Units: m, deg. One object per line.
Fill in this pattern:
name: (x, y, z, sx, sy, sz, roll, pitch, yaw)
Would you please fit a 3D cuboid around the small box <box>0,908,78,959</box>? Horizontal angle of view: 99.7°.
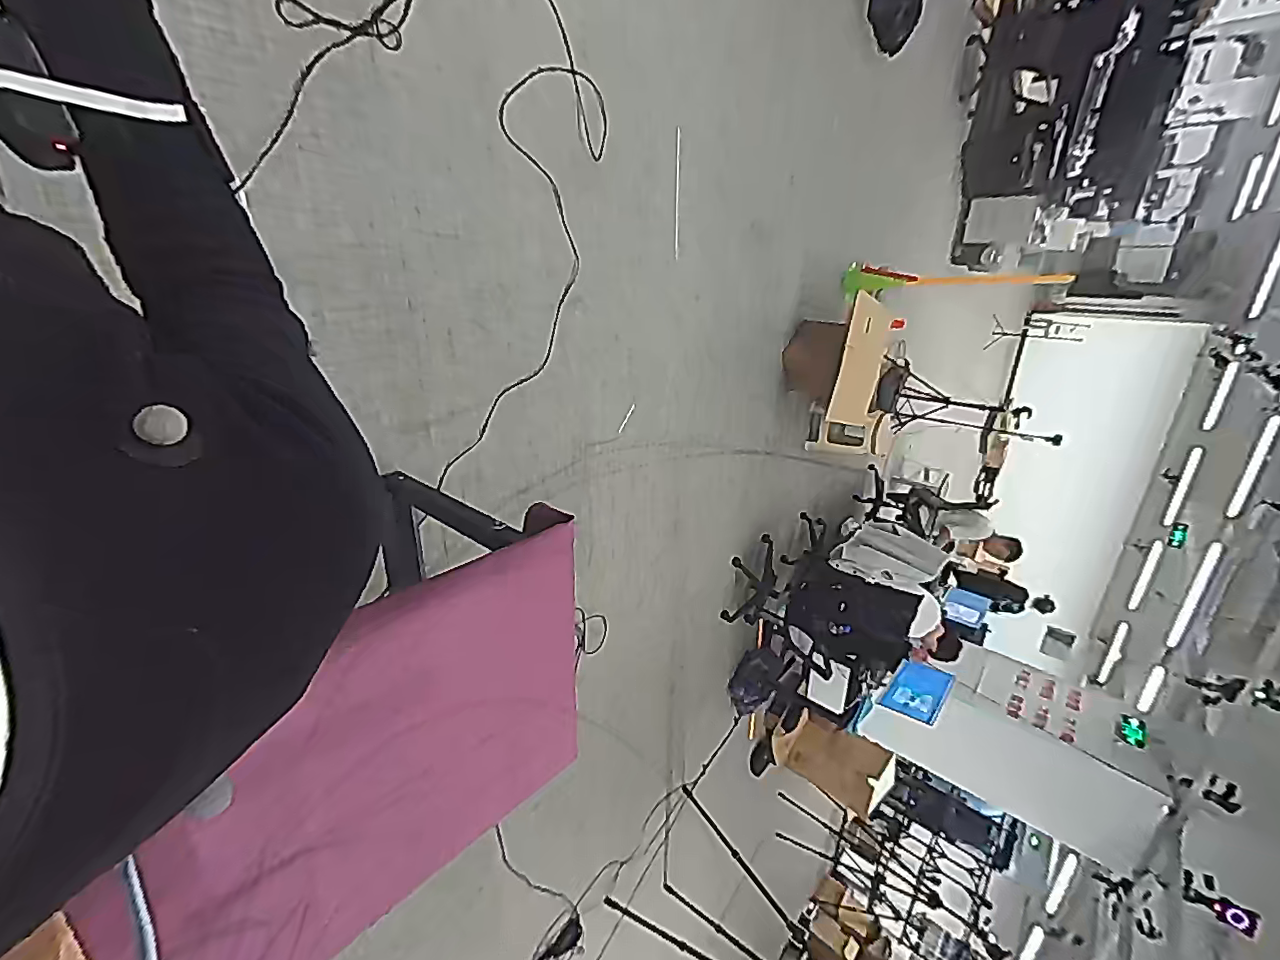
small box: (-0.682, 0.590, 0.544, 0.168, 0.176, 0.179, -16, 117, -46)
